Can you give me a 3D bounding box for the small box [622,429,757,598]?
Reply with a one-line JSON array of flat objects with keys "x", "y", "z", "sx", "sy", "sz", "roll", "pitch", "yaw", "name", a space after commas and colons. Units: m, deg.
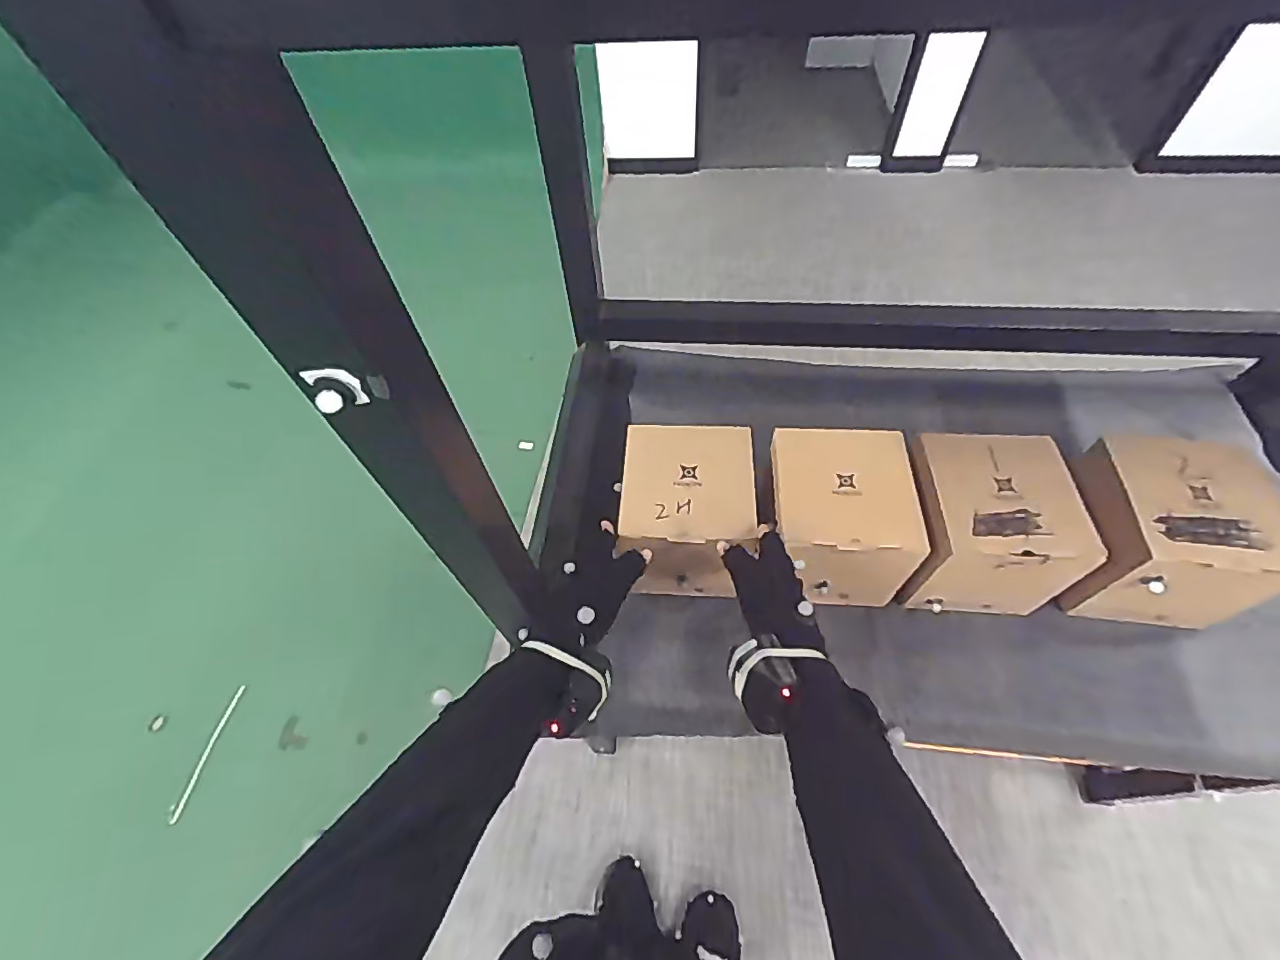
[{"x": 0.069, "y": 0.048, "z": 0.761, "sx": 0.168, "sy": 0.176, "sz": 0.179, "roll": 1, "pitch": 55, "yaw": 5, "name": "small box"}]
